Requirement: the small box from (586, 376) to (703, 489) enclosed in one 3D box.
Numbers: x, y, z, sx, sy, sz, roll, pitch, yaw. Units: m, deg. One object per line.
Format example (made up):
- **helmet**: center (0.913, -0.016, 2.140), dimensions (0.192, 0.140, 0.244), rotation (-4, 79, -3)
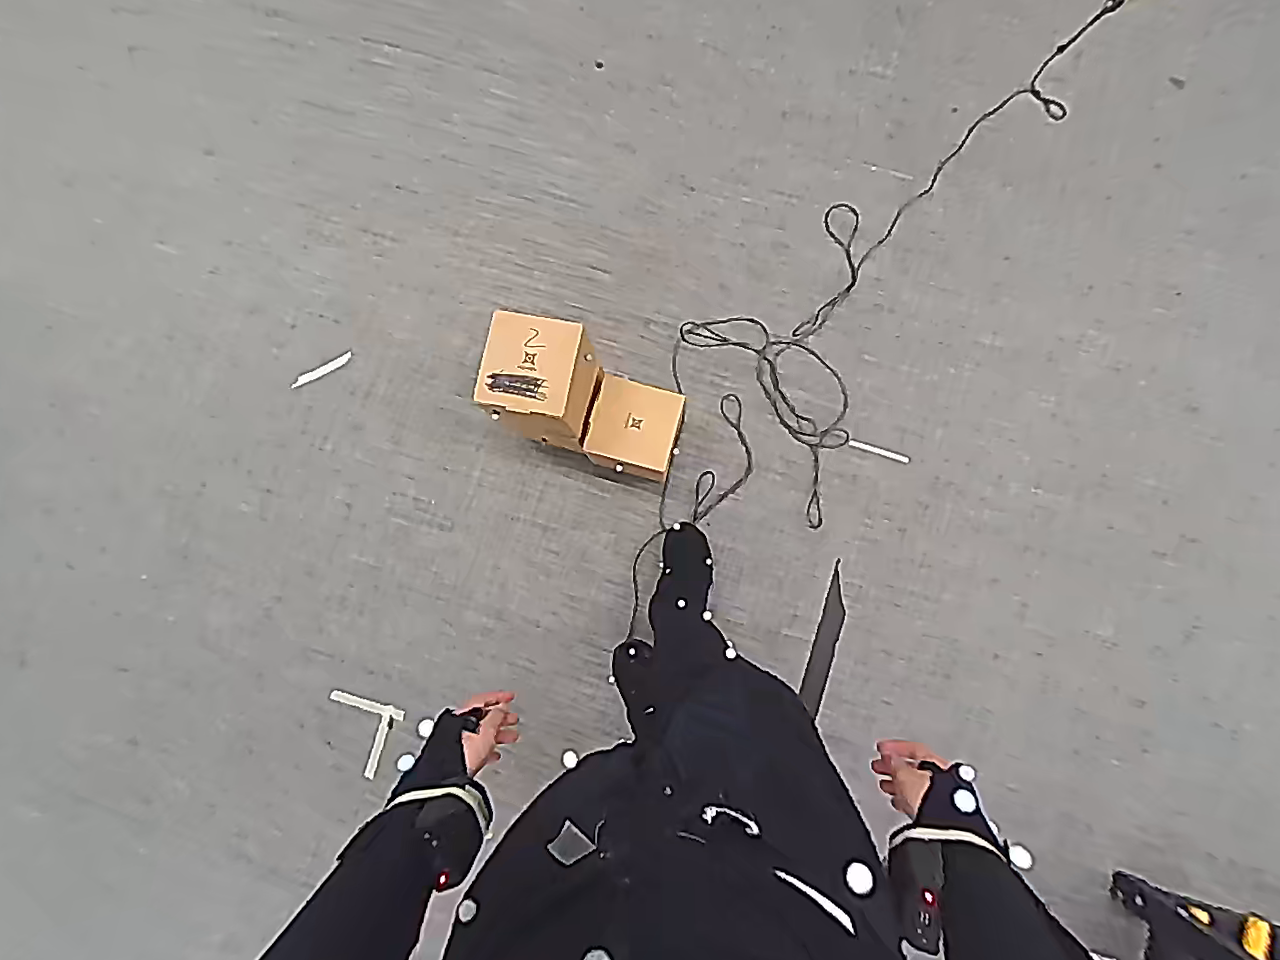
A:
- **small box**: center (0.006, -0.098, 1.098), dimensions (0.168, 0.176, 0.179), rotation (42, 96, -7)
